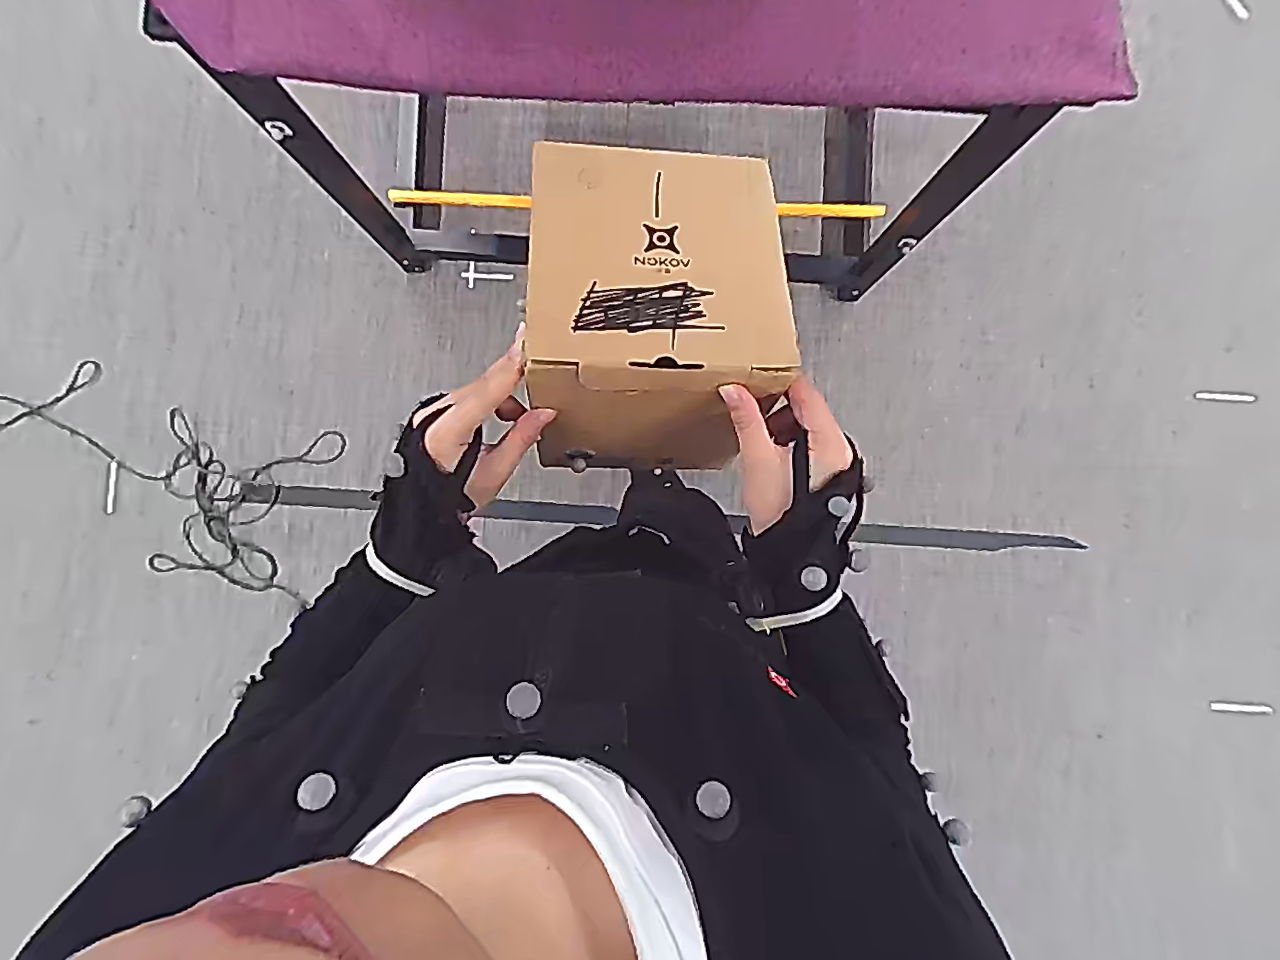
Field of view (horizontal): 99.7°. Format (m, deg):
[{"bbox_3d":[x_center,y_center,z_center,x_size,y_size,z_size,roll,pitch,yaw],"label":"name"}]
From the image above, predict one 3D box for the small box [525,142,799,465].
[{"bbox_3d":[0.006,-0.118,0.419,0.168,0.176,0.179,1,70,-7],"label":"small box"}]
